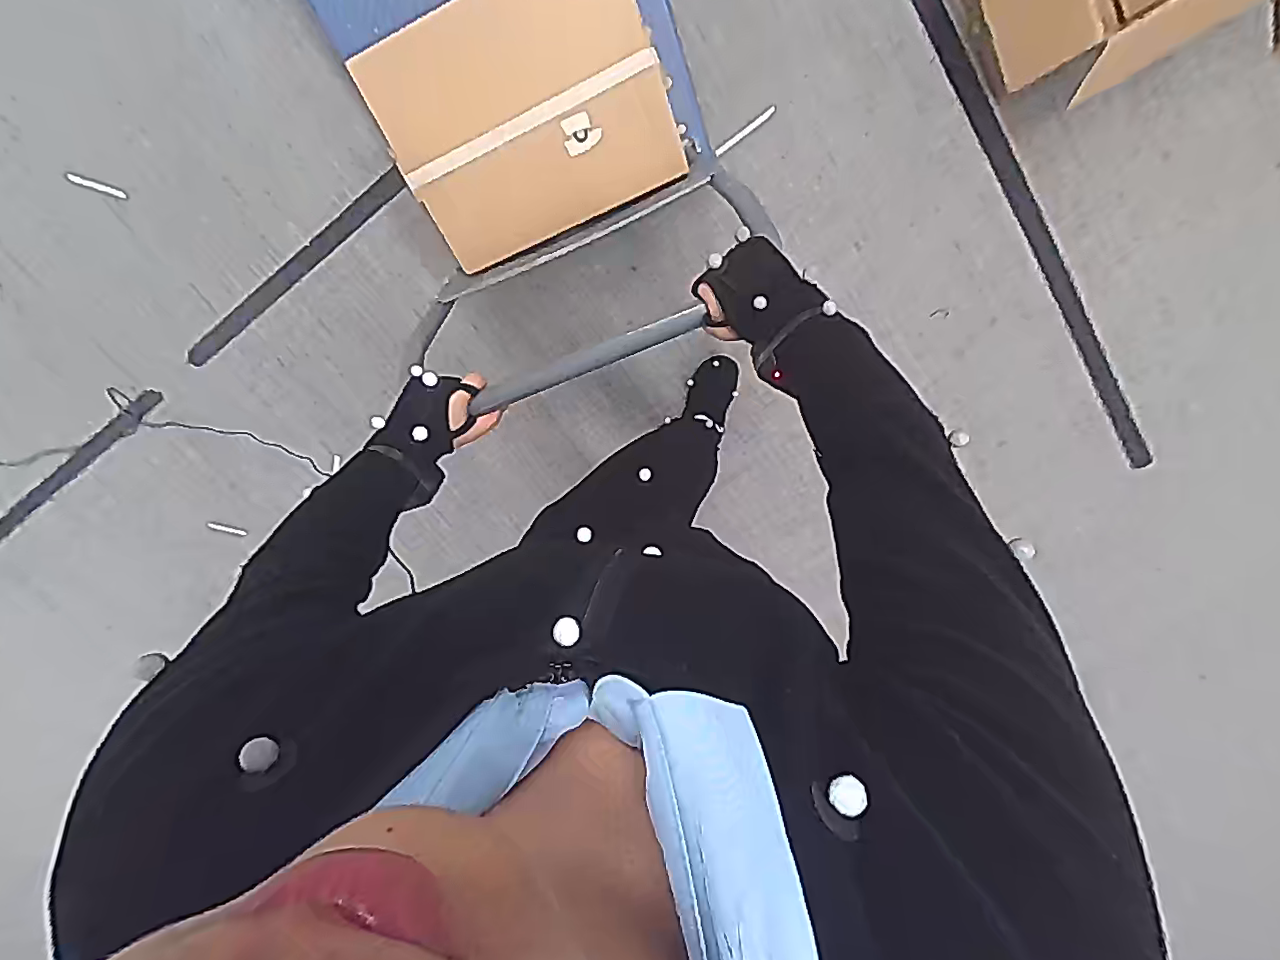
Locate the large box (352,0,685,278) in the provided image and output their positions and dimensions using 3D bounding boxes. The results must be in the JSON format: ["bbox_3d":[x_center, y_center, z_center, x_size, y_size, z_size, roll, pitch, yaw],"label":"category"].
[{"bbox_3d":[-0.176,-0.603,0.921,0.408,0.320,0.320,-21,123,10],"label":"large box"}]
